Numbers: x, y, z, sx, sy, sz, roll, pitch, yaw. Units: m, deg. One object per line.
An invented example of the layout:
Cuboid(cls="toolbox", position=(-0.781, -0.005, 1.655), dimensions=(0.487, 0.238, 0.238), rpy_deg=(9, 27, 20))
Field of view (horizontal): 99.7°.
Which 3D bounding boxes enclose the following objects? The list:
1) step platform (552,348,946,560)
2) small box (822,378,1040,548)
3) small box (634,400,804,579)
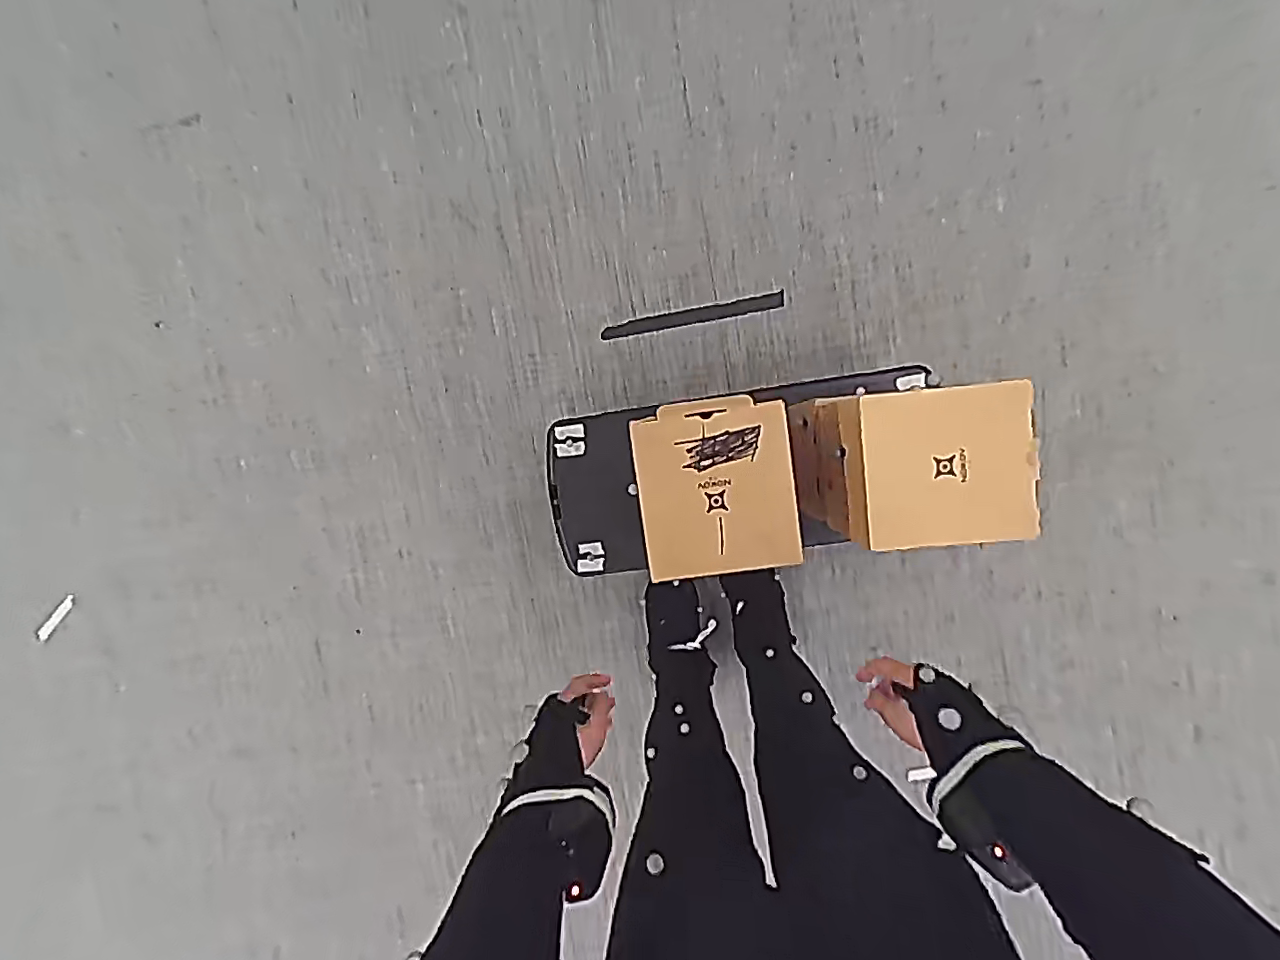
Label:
Cuboid(cls="step platform", position=(0.189, -0.042, 0.980), dimensions=(0.684, 0.204, 0.286), rpy_deg=(-9, 93, 5))
Cuboid(cls="small box", position=(0.322, -0.020, 0.636), dimensions=(0.179, 0.176, 0.168), rpy_deg=(-6, 94, 3))
Cuboid(cls="small box", position=(0.086, 0.007, 0.650), dimensions=(0.168, 0.176, 0.179), rpy_deg=(-8, 94, 4))
